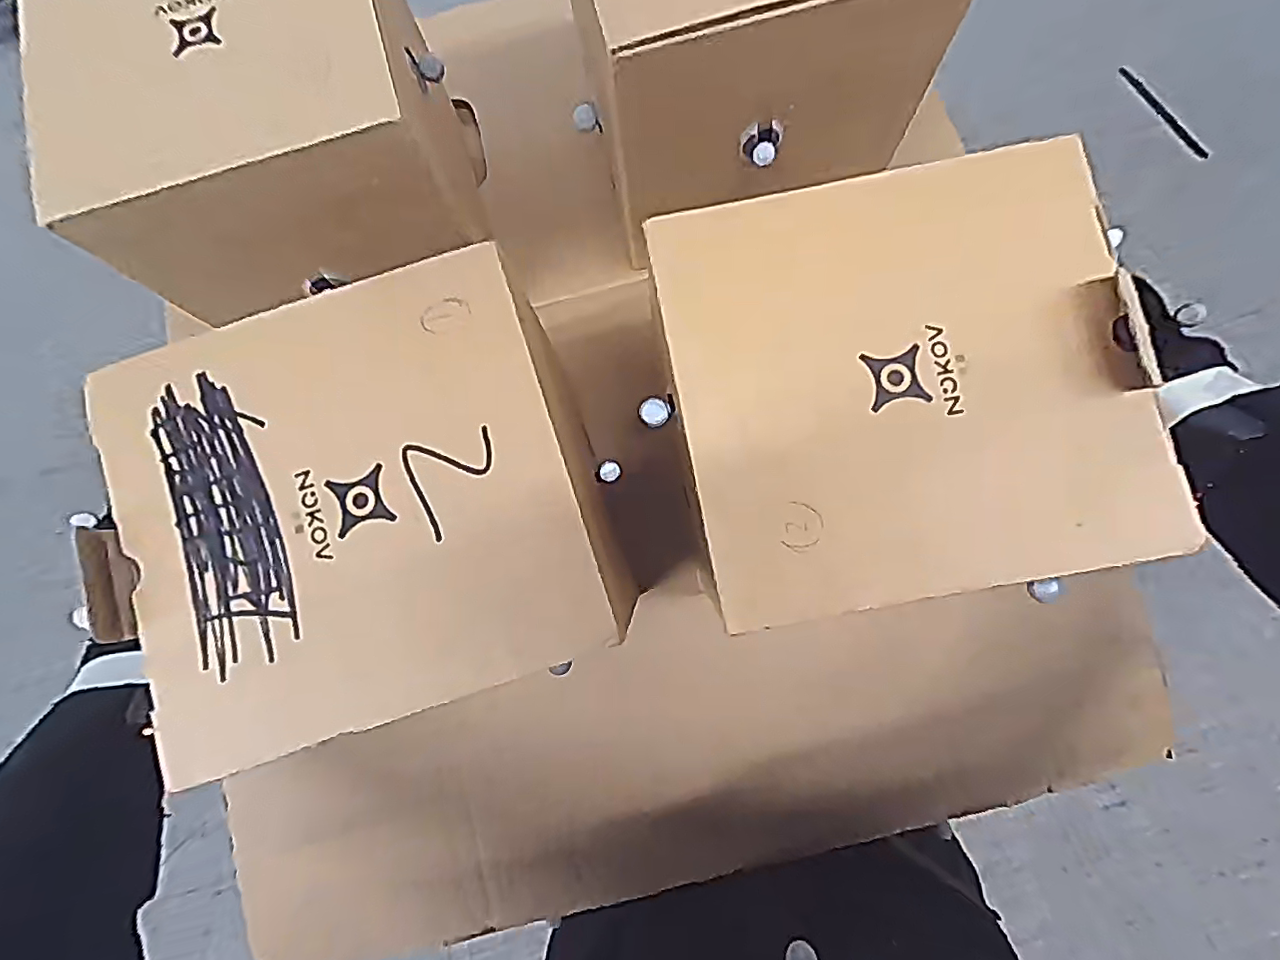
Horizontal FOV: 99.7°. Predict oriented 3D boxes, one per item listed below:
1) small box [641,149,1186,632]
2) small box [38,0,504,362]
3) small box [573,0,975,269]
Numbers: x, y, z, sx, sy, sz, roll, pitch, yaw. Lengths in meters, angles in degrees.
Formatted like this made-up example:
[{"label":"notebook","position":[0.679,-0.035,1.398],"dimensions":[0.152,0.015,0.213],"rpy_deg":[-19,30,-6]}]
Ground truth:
[{"label":"small box","position":[0.102,-0.028,0.285],"dimensions":[0.179,0.176,0.168],"rpy_deg":[-10,84,1]},{"label":"small box","position":[-0.199,-0.191,0.335],"dimensions":[0.168,0.176,0.179],"rpy_deg":[-16,77,0]},{"label":"small box","position":[0.056,-0.261,0.331],"dimensions":[0.179,0.176,0.168],"rpy_deg":[-14,78,2]}]
